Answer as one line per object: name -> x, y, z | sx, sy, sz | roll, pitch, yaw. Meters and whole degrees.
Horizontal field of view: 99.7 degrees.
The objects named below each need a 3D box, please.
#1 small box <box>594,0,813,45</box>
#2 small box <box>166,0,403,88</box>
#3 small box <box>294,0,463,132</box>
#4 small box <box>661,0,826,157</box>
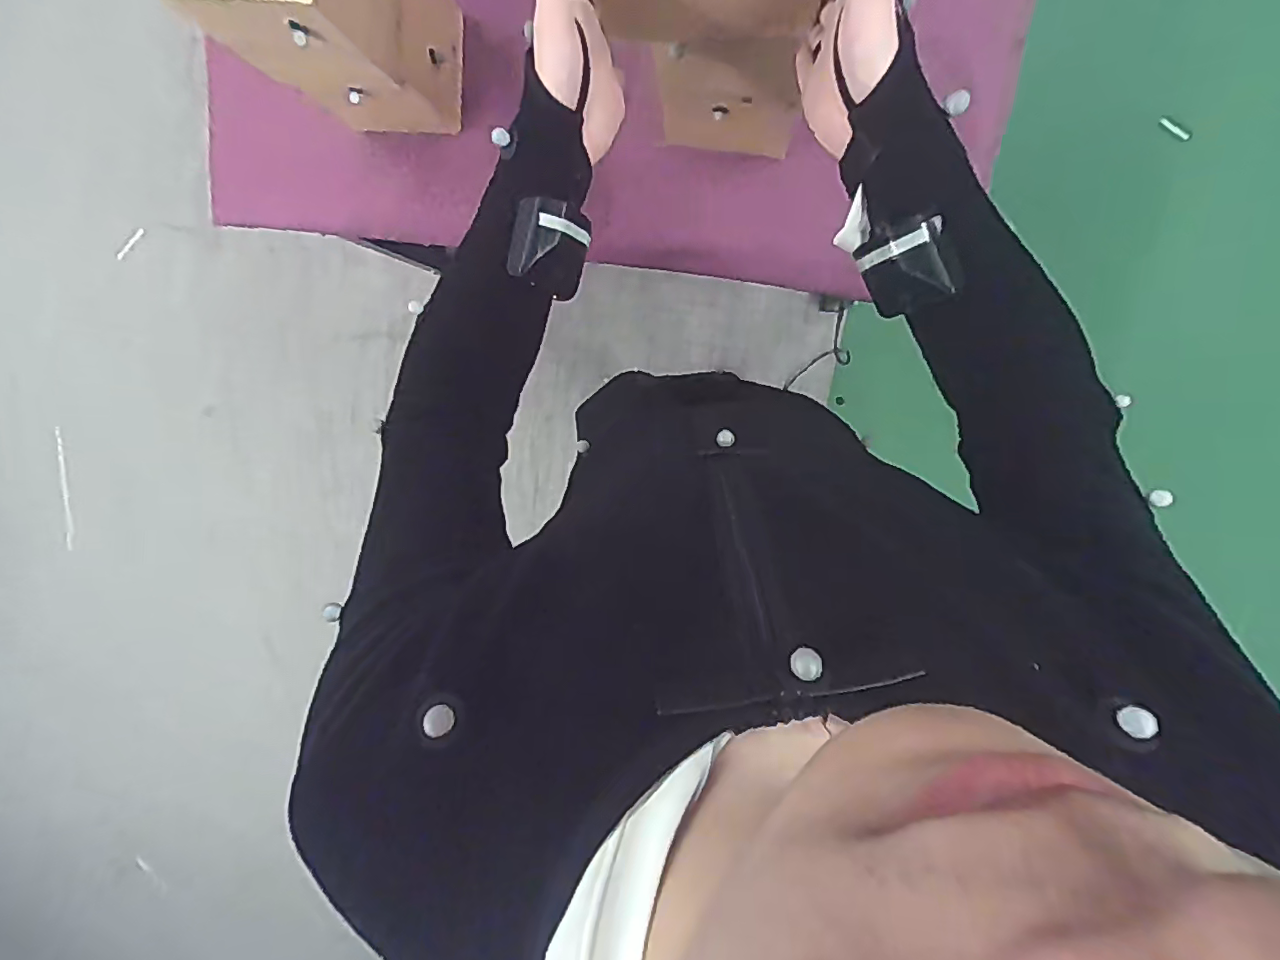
small box -> 0.046, -0.428, 0.366 | 0.179, 0.176, 0.168 | 5, 107, 7
small box -> -0.378, -0.565, 0.593 | 0.179, 0.176, 0.168 | 8, 101, 5
small box -> -0.361, -0.610, 0.752 | 0.179, 0.176, 0.168 | 6, 102, 6
small box -> 0.132, -0.548, 0.705 | 0.179, 0.176, 0.168 | 11, 102, 4
